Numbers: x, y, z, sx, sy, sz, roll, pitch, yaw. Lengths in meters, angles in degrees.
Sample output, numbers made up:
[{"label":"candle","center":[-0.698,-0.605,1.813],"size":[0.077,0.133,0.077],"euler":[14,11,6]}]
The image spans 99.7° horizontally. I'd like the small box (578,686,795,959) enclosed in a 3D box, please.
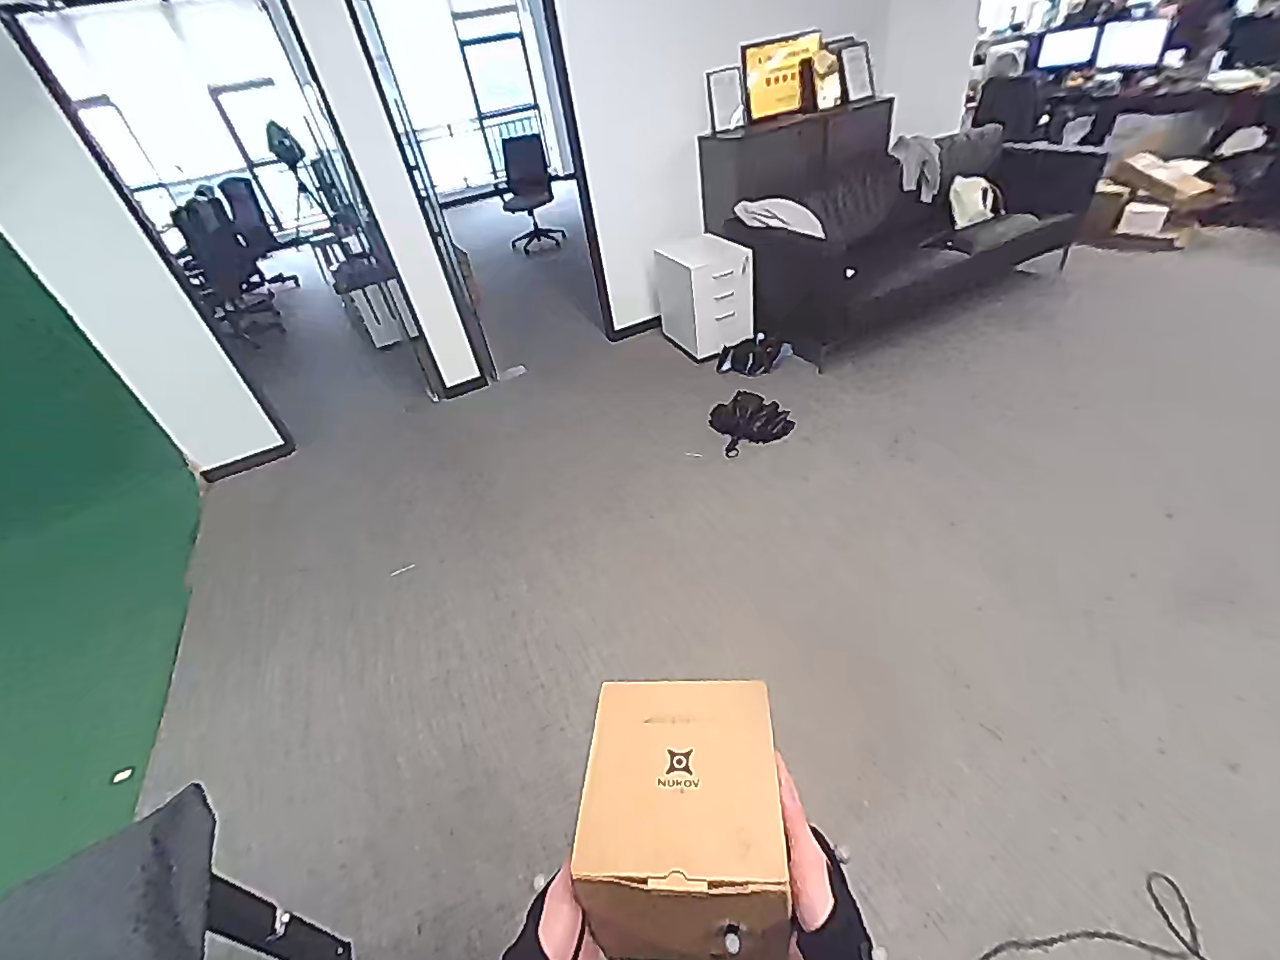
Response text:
[{"label":"small box","center":[0.051,0.320,0.506],"size":[0.168,0.176,0.179],"euler":[-3,30,8]}]
